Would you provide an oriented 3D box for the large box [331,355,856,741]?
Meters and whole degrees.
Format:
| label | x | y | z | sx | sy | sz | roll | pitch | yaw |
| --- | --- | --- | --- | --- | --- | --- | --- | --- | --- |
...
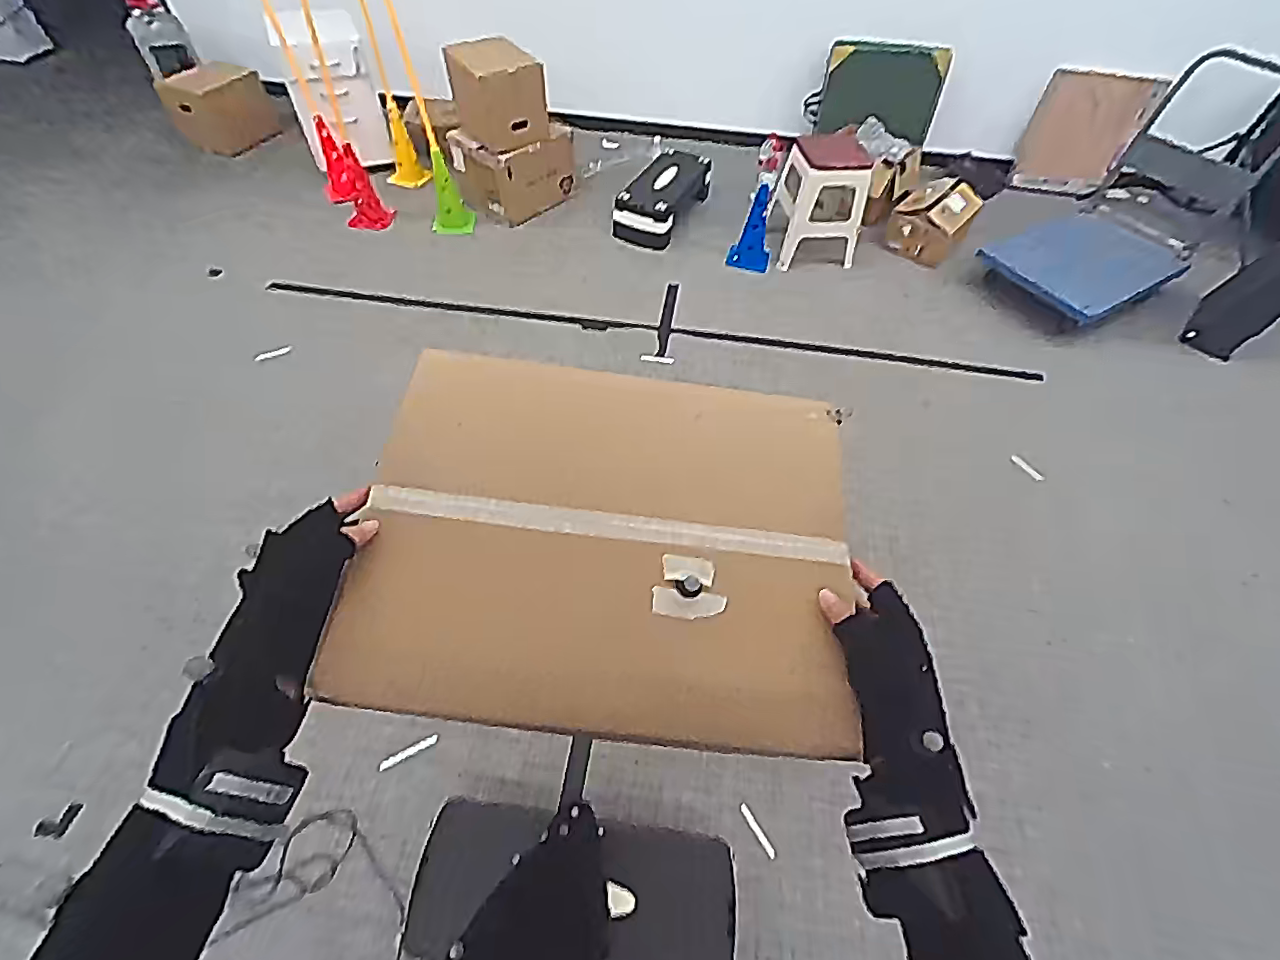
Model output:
| label | x | y | z | sx | sy | sz | roll | pitch | yaw |
| --- | --- | --- | --- | --- | --- | --- | --- | --- | --- |
| large box | -0.033 | 0.101 | 0.600 | 0.408 | 0.320 | 0.320 | 8 | 64 | -2 |
